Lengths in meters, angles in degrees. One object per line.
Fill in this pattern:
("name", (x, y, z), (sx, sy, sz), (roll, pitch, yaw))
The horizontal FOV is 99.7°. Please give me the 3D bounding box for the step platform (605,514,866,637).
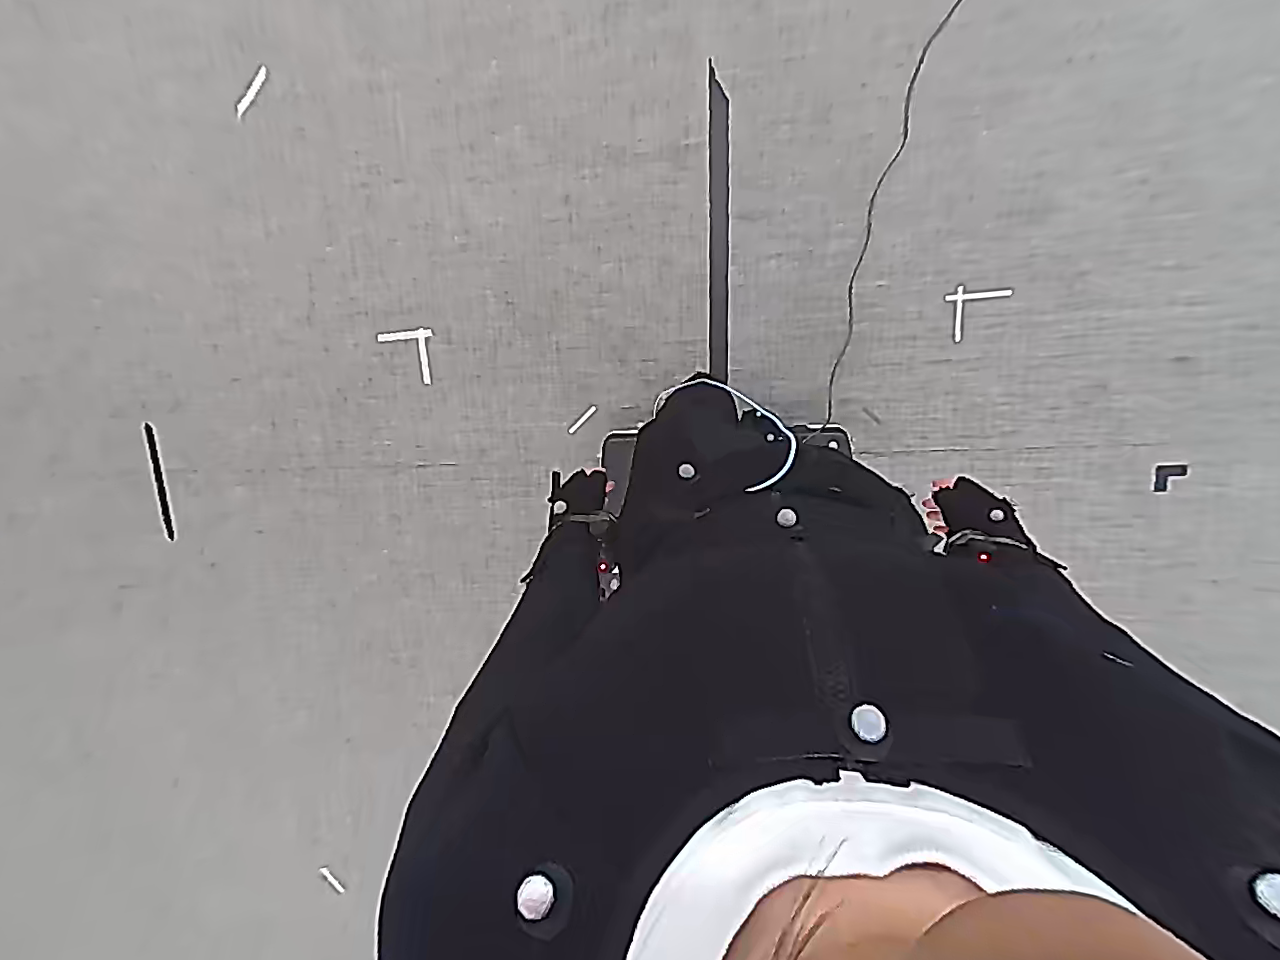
("step platform", (0.247, 0.259, 1.474), (0.684, 0.204, 0.286), (-2, 99, 10))
